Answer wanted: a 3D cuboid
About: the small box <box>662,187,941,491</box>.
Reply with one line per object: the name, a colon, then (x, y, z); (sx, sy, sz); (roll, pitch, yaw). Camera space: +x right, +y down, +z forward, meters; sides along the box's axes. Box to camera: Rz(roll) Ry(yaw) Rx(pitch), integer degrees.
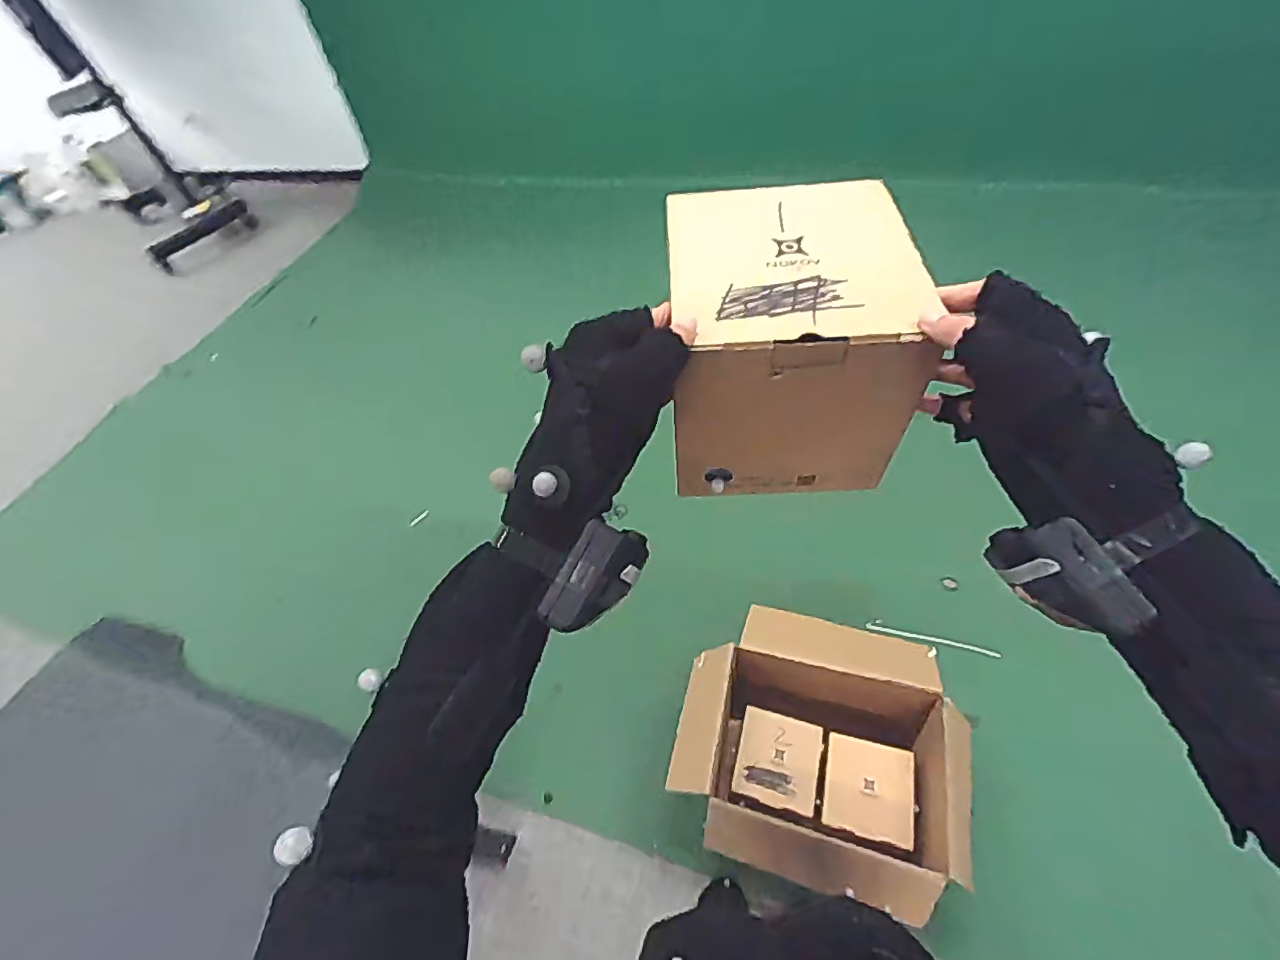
small box: (0.104, -0.101, 0.433); (0.168, 0.176, 0.179); (-2, 55, 4)
